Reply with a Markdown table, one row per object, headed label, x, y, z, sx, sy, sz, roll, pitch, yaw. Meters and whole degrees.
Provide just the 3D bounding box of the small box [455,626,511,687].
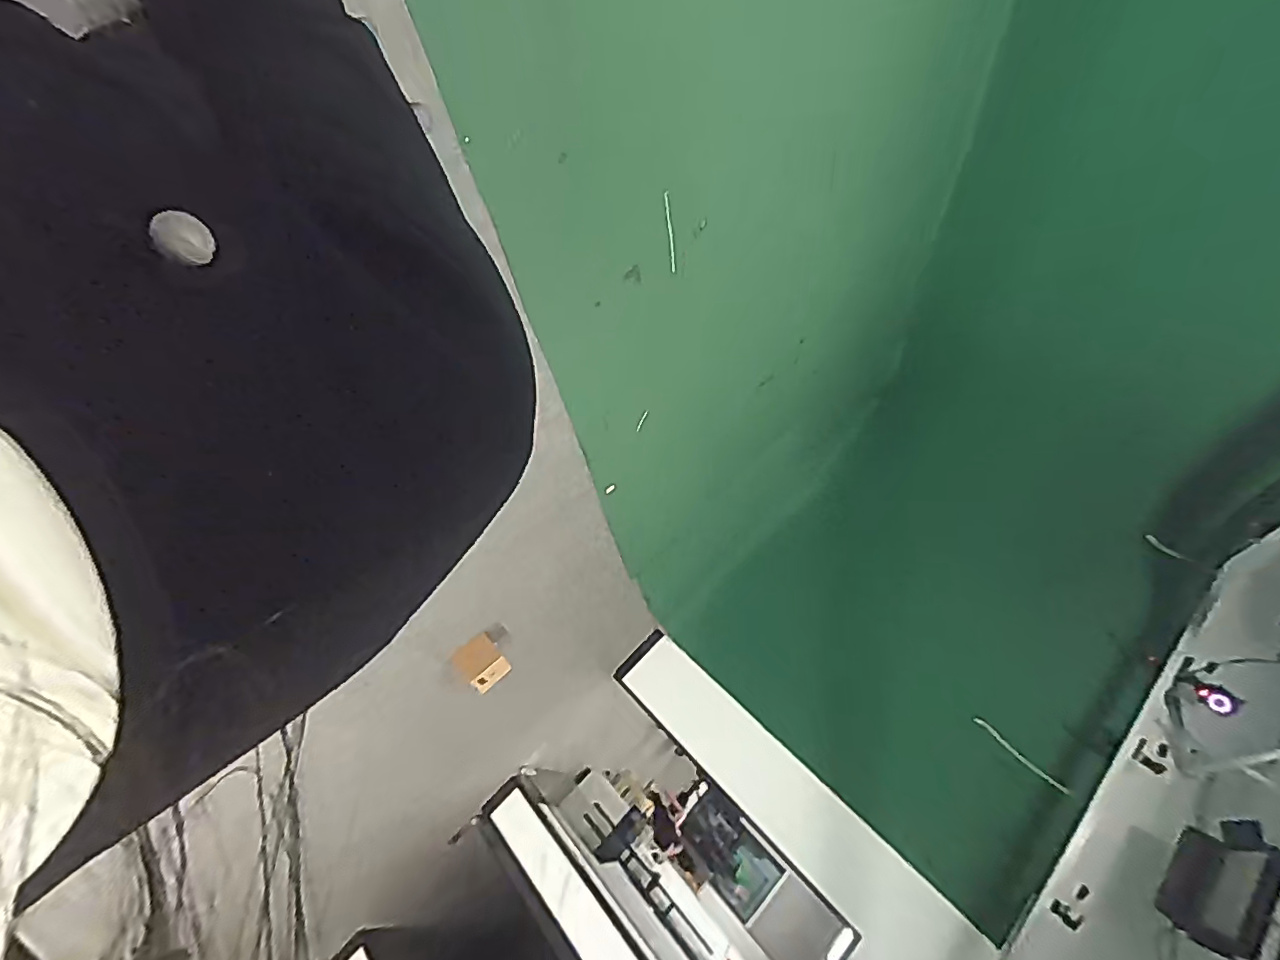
| label | x | y | z | sx | sy | sz | roll | pitch | yaw |
| --- | --- | --- | --- | --- | --- | --- | --- | --- | --- |
| small box | -0.735 | 0.820 | 2.516 | 0.179 | 0.176 | 0.168 | -40 | 148 | -23 |
